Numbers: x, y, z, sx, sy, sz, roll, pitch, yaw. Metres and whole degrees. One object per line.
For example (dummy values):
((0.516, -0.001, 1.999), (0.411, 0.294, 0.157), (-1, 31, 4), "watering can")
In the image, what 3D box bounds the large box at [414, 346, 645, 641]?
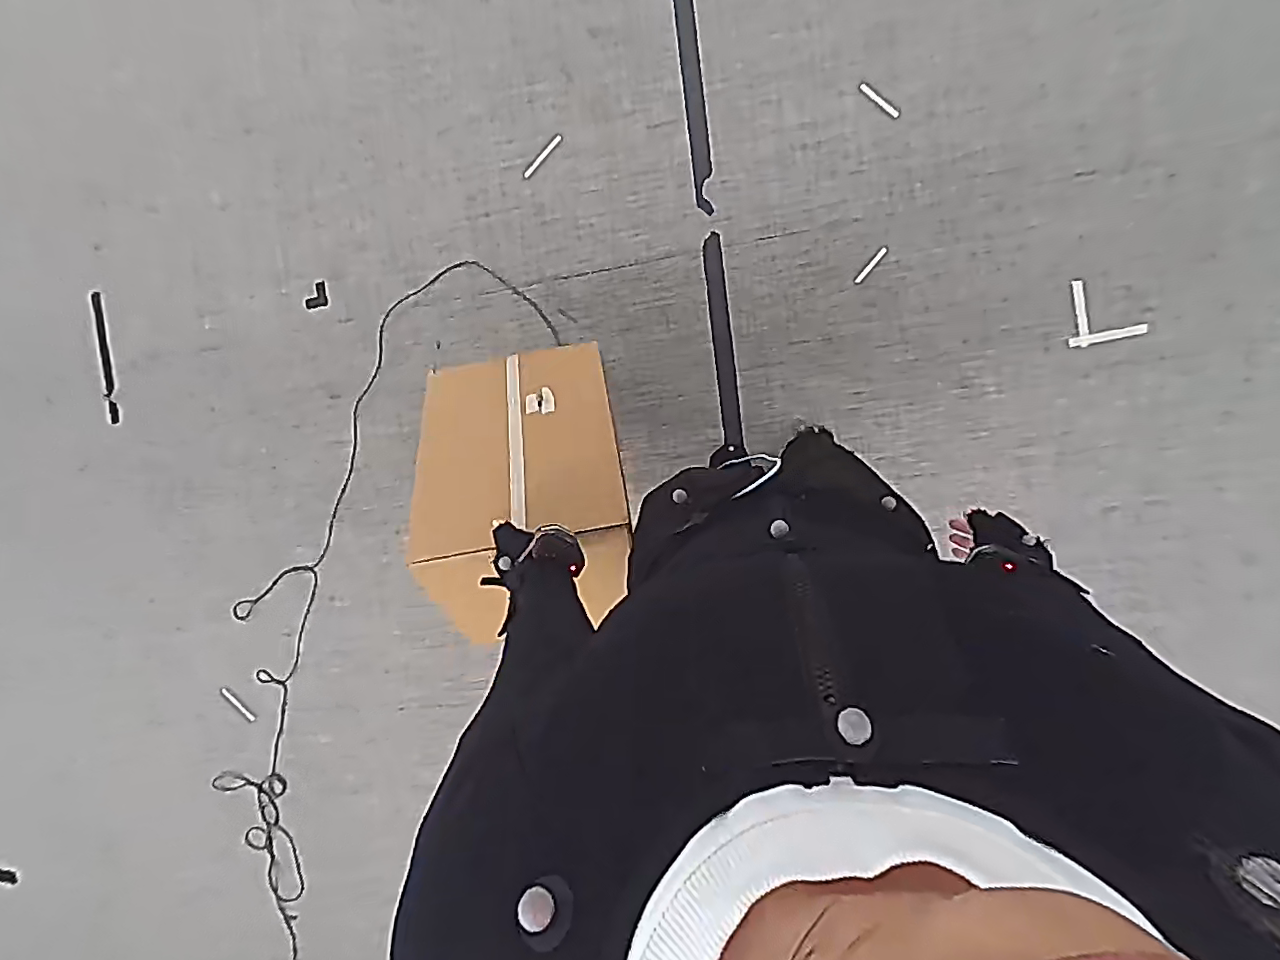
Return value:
((-0.183, 0.024, 0.981), (0.320, 0.320, 0.408), (-9, 52, -3), "large box")
